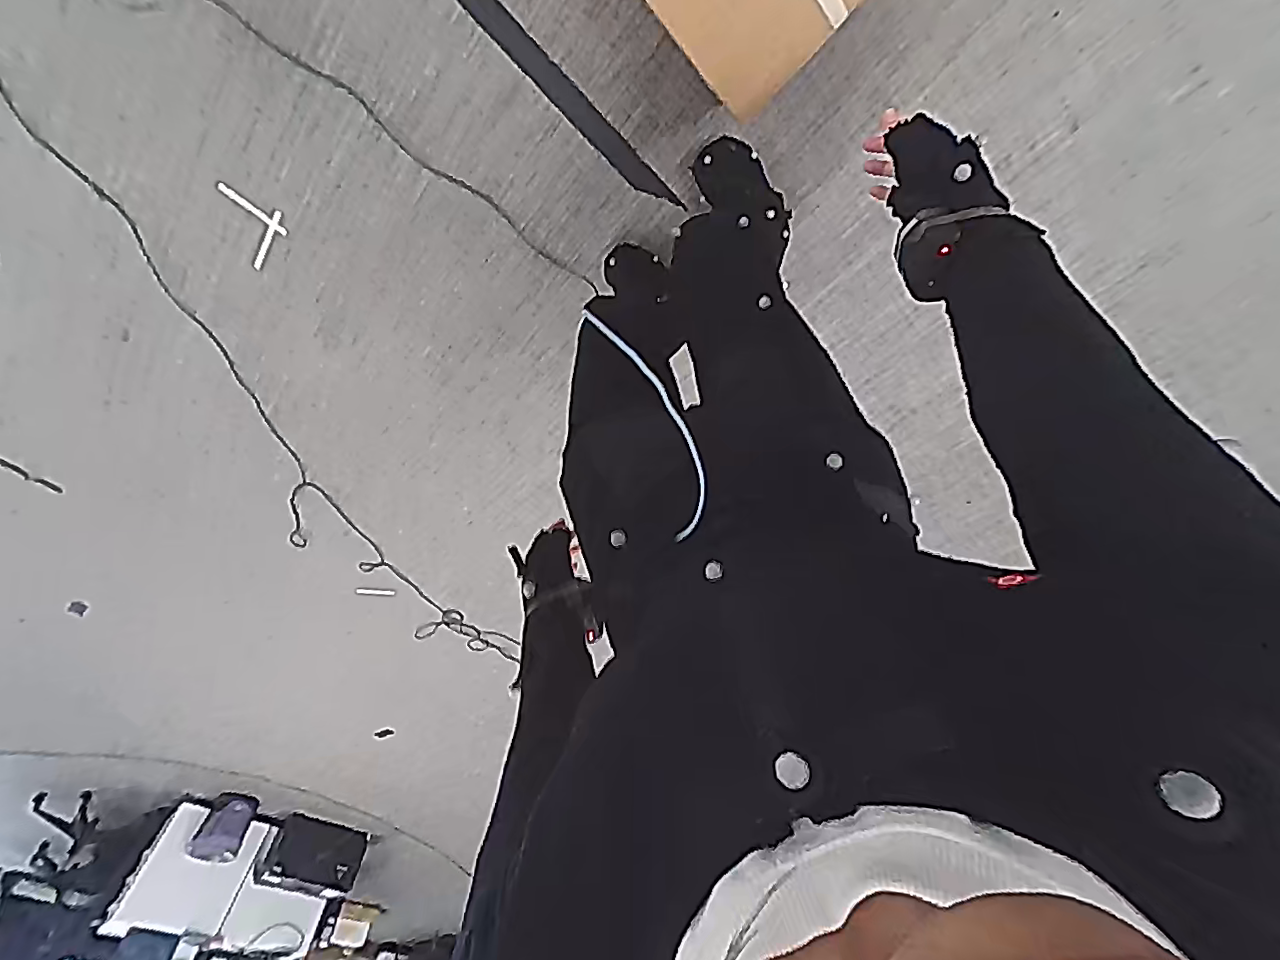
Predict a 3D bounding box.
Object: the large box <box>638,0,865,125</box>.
[{"bbox_3d":[0.111,-0.775,0.711,0.408,0.320,0.320,38,122,-26],"label":"large box"}]
